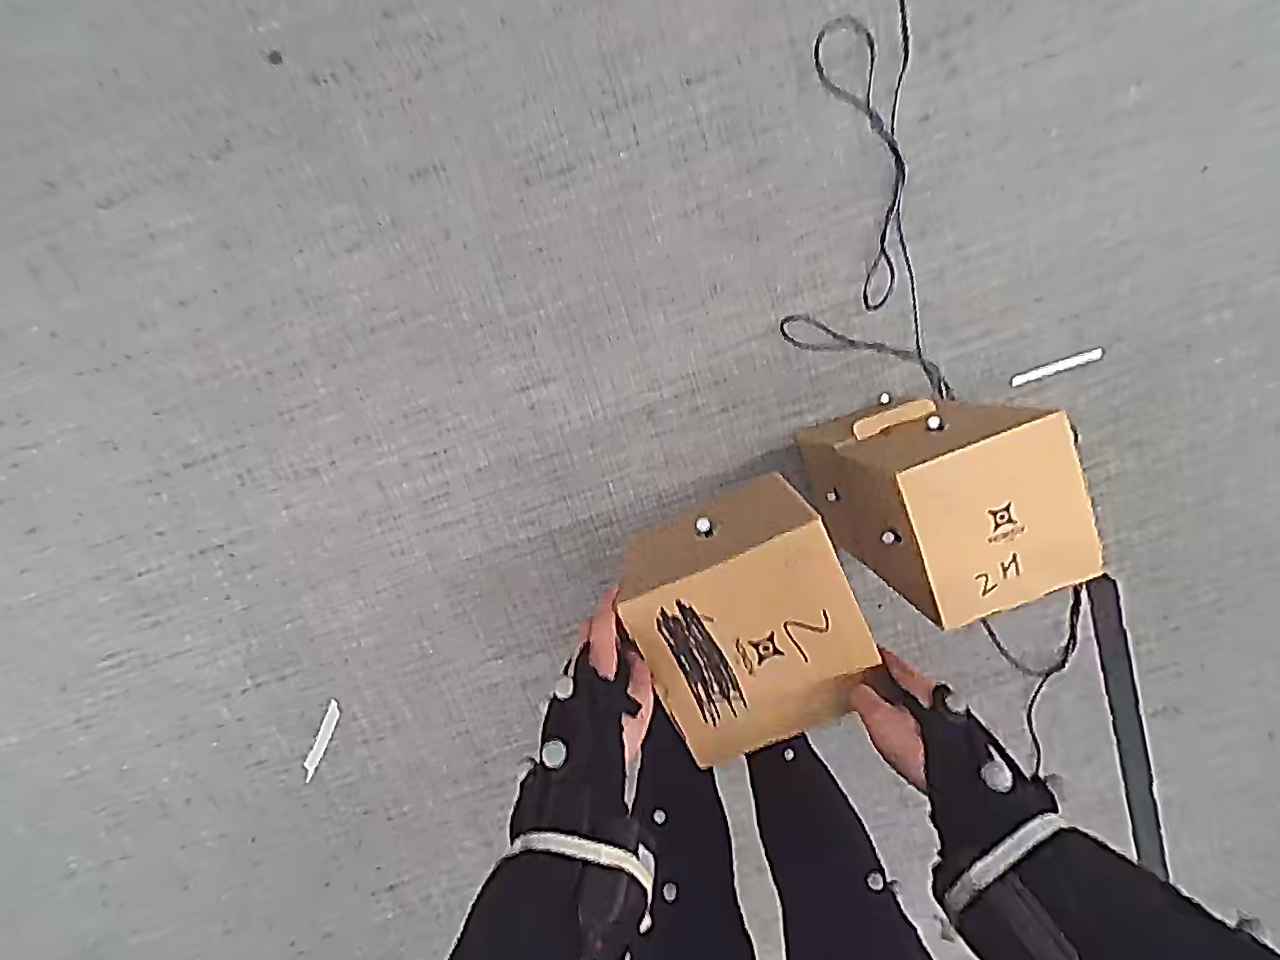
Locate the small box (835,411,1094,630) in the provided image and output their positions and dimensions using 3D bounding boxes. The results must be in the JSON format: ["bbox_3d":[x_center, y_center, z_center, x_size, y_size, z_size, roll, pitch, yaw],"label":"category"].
[{"bbox_3d":[0.341,0.030,0.601,0.168,0.176,0.179,-21,100,4],"label":"small box"}]

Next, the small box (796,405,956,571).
[{"bbox_3d":[0.338,0.000,0.763,0.168,0.176,0.179,-19,101,3],"label":"small box"}]
